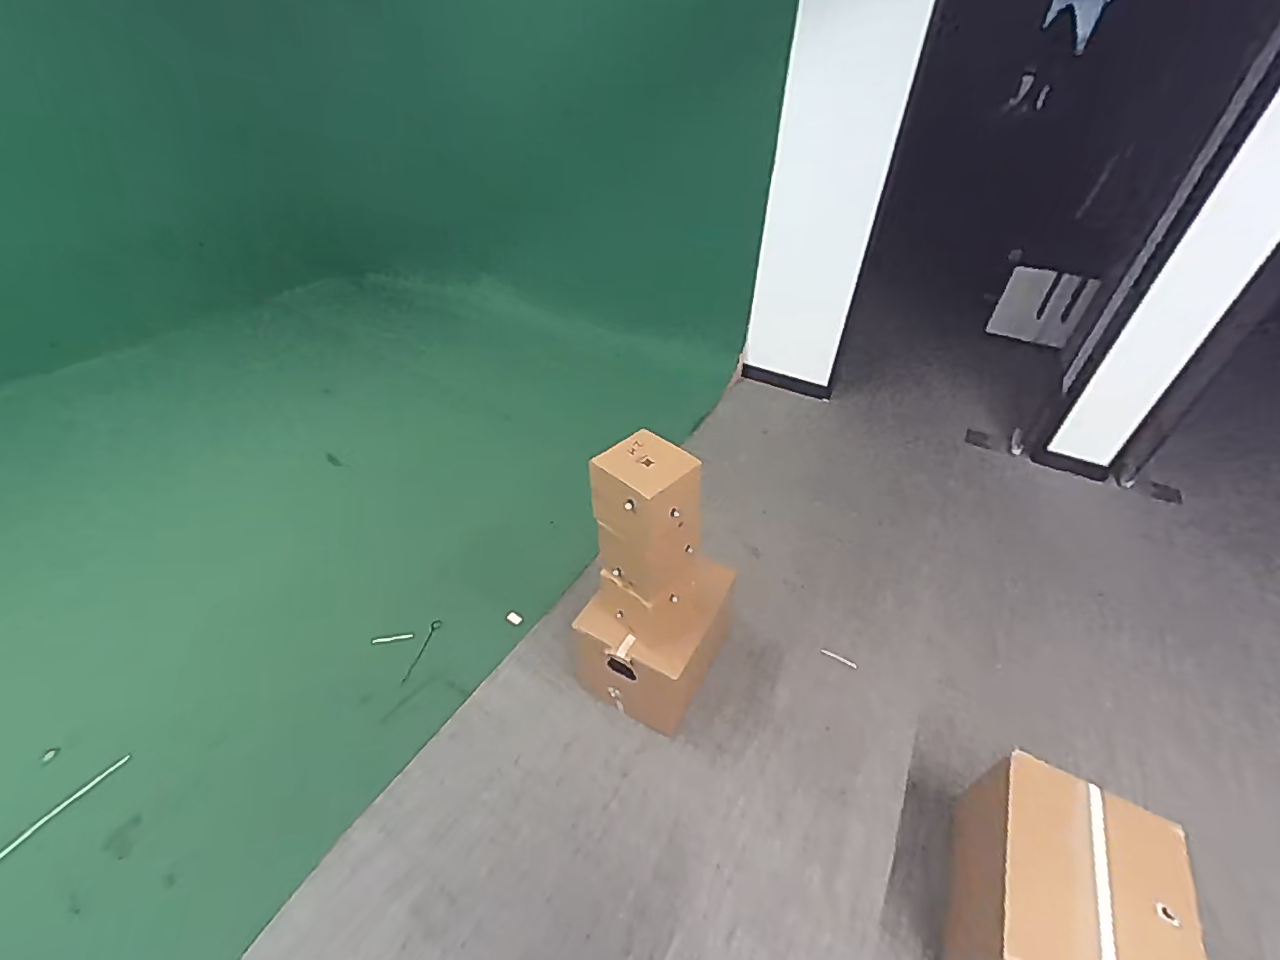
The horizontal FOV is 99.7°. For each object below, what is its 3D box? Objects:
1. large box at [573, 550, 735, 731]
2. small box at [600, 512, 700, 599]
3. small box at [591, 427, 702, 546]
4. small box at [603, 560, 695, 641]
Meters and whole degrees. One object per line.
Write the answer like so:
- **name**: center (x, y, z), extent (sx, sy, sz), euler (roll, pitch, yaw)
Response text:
- **large box**: center (0.047, 0.428, 1.579), extent (0.320, 0.320, 0.408), euler (21, 44, 21)
- **small box**: center (0.022, 0.144, 1.287), extent (0.168, 0.176, 0.179), euler (32, 51, 32)
- **small box**: center (0.013, 0.020, 1.180), extent (0.179, 0.176, 0.168), euler (33, 50, 32)
- **small box**: center (0.020, 0.273, 1.387), extent (0.168, 0.176, 0.179), euler (30, 49, 29)
